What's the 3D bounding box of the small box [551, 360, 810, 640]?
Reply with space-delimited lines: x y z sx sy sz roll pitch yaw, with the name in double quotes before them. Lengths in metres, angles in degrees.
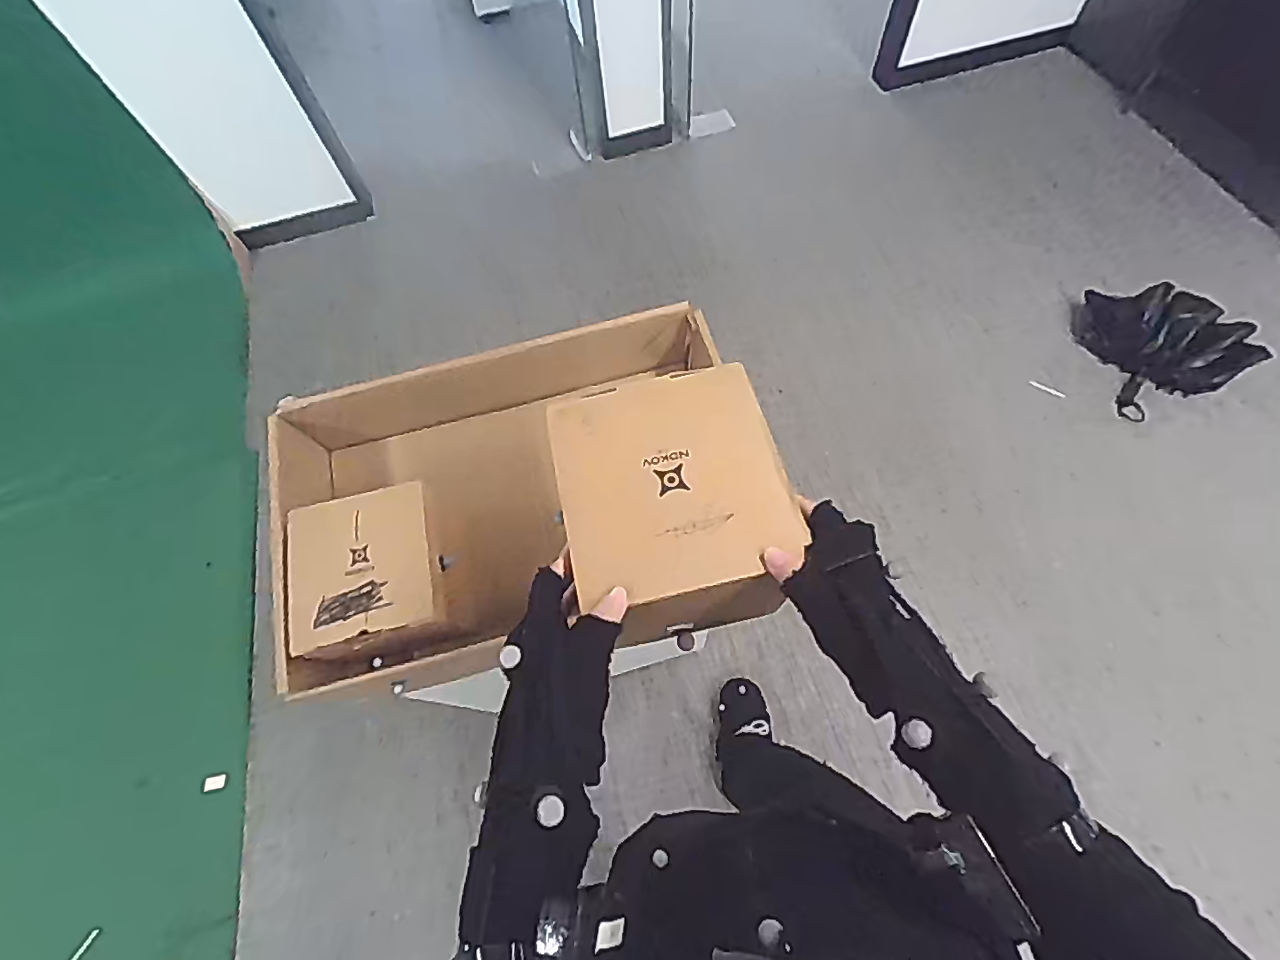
"small box" 0.026 0.026 0.478 0.168 0.176 0.179 -13 65 -2
